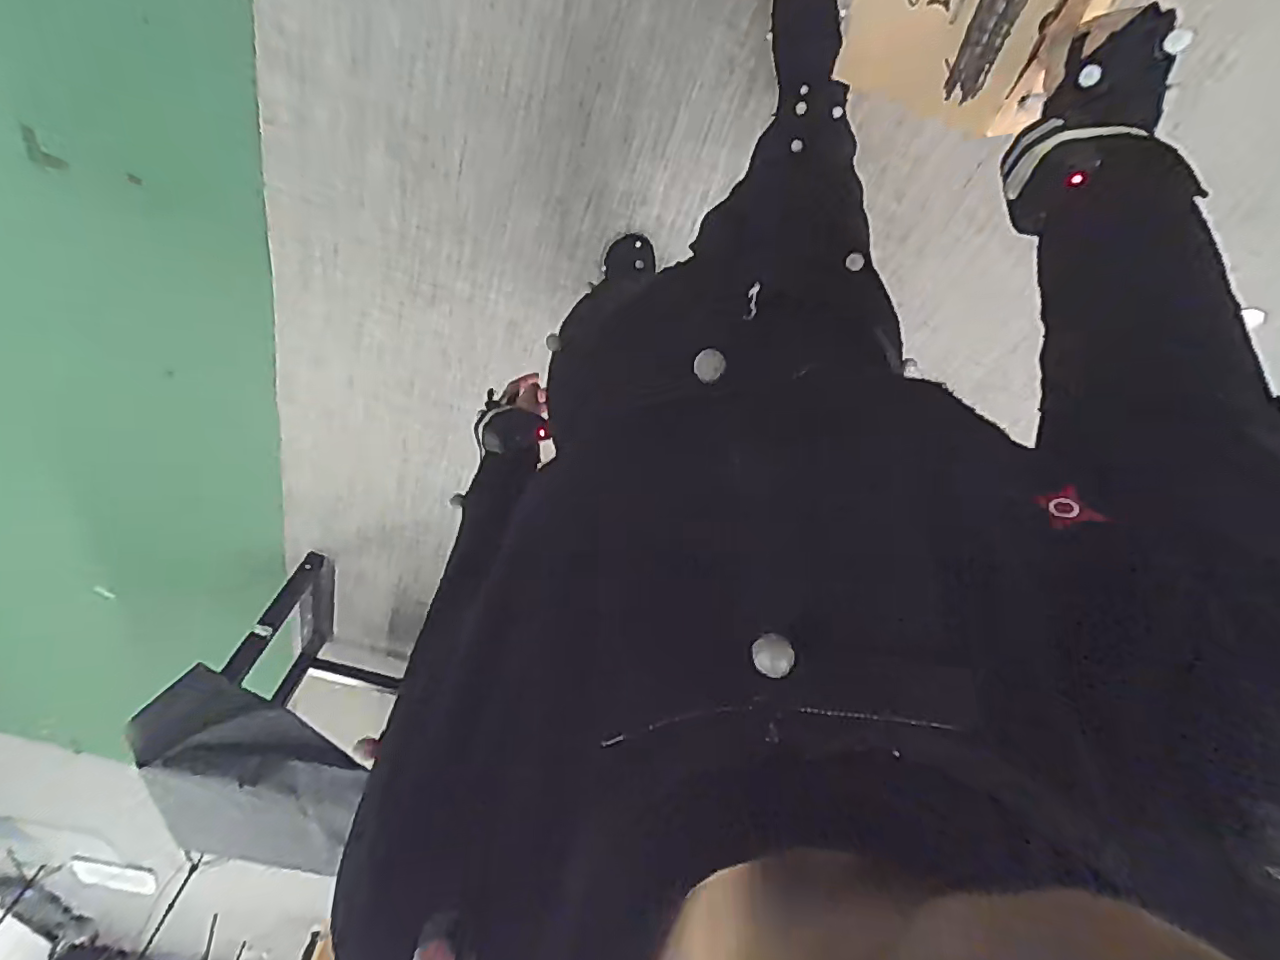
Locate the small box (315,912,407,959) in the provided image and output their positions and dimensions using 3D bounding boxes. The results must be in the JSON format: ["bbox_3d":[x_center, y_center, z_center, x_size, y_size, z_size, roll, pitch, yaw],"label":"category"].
[{"bbox_3d":[-0.697,1.183,1.321,0.179,0.176,0.168,26,127,-14],"label":"small box"}]

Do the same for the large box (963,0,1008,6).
[{"bbox_3d":[0.418,-0.862,0.660,0.408,0.320,0.320,17,128,-10],"label":"large box"}]
